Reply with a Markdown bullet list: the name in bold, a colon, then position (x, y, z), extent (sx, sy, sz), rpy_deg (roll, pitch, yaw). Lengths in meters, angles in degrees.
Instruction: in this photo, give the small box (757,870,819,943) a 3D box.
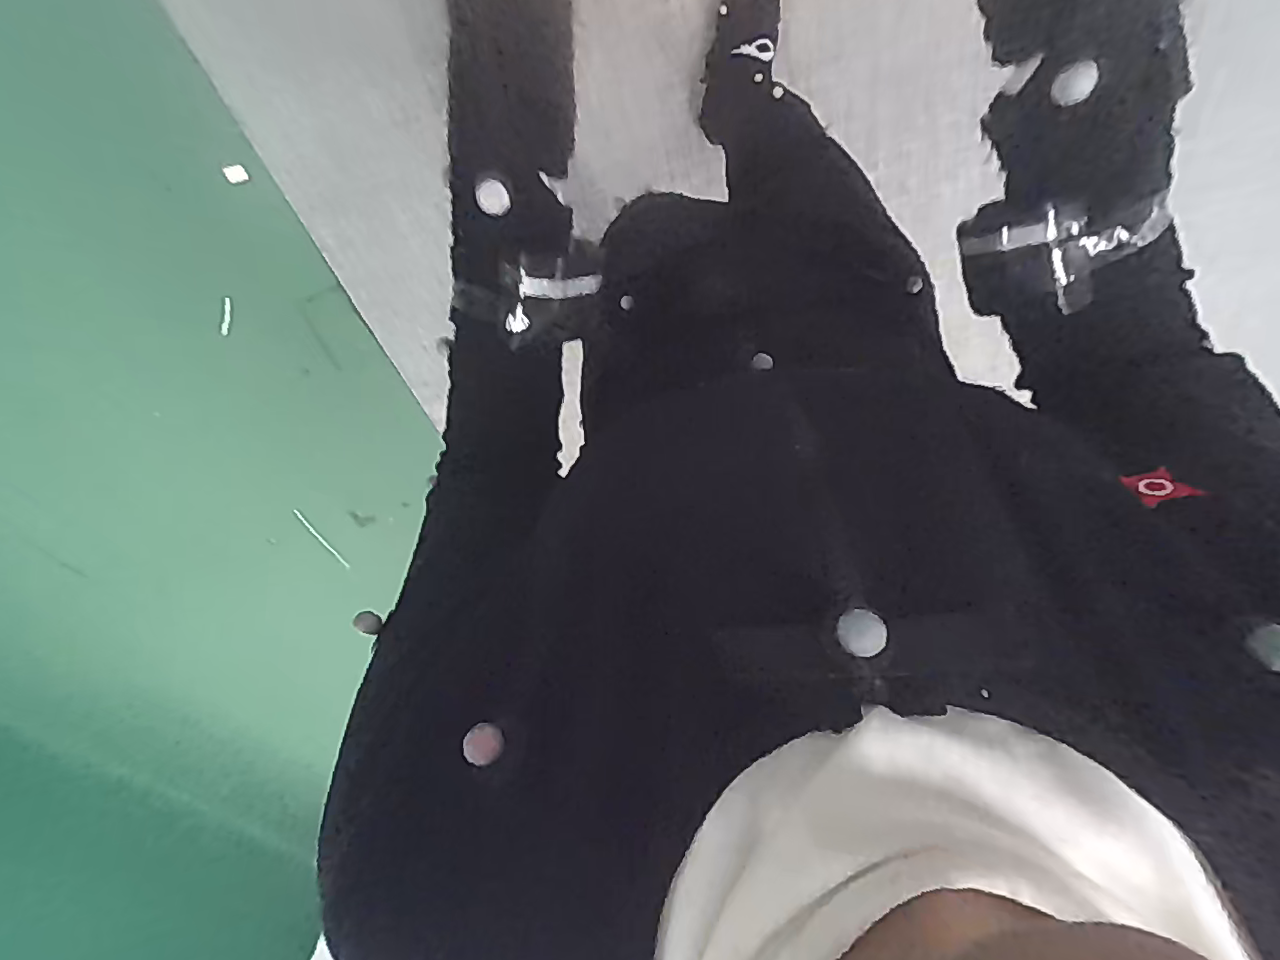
- **small box**: position (0.503, 1.461, 1.855), extent (0.179, 0.176, 0.168), rpy_deg (-14, 128, 16)
